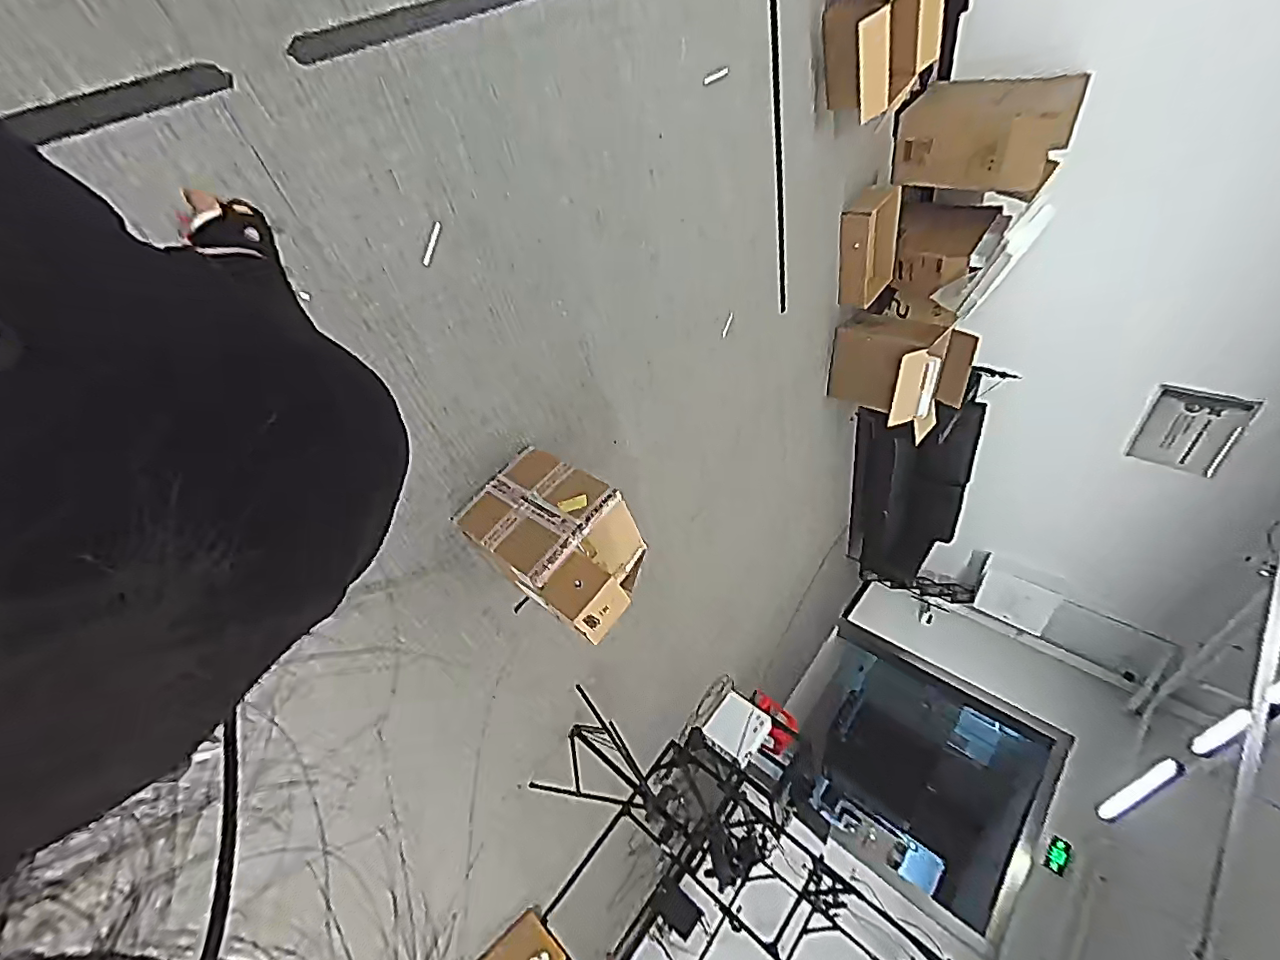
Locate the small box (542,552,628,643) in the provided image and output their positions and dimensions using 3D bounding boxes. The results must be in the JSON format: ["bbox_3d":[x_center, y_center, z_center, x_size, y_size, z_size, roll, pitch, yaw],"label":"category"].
[{"bbox_3d":[-0.172,0.352,1.640,0.179,0.176,0.168,-49,139,-20],"label":"small box"}]
